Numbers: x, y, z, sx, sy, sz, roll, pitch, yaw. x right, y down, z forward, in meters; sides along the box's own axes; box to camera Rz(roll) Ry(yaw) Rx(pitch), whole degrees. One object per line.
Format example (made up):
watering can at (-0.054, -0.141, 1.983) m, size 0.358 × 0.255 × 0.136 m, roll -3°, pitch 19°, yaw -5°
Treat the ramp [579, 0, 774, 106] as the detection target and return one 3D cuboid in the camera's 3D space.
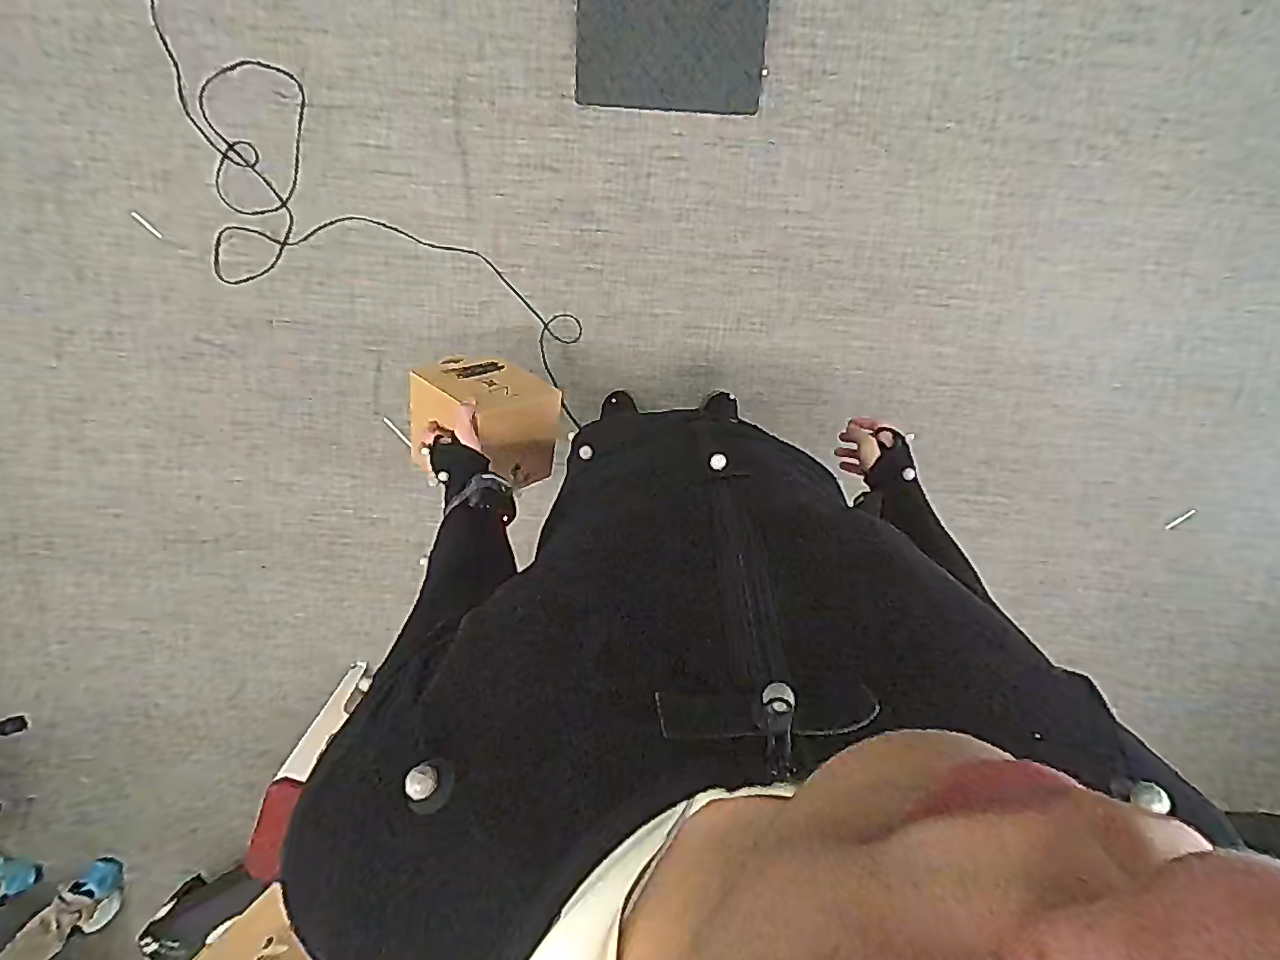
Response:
ramp at (0.109, -1.467, 1.252) m, size 0.509 × 0.206 × 0.991 m, roll 1°, pitch 102°, yaw -1°
